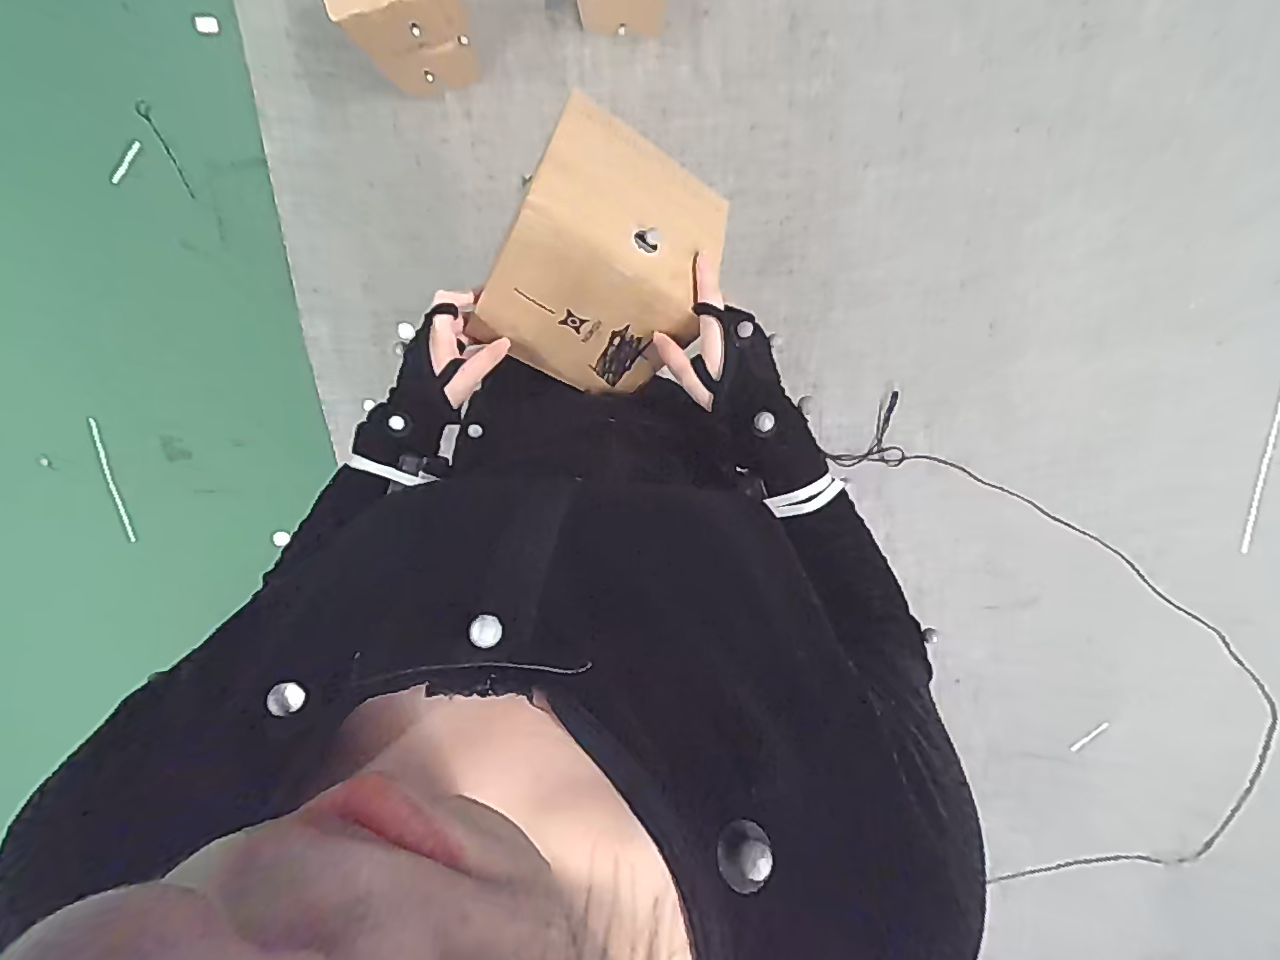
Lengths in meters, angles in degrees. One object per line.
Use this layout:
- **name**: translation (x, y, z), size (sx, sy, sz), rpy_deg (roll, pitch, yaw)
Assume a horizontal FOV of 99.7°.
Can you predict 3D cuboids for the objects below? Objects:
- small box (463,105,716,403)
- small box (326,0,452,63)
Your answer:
- **small box**: translation (-0.043, -0.211, 0.529), size (0.179, 0.176, 0.168), rpy_deg (25, 148, -23)
- **small box**: translation (-0.468, -0.904, 0.989), size (0.168, 0.176, 0.179), rpy_deg (-12, 105, 4)
